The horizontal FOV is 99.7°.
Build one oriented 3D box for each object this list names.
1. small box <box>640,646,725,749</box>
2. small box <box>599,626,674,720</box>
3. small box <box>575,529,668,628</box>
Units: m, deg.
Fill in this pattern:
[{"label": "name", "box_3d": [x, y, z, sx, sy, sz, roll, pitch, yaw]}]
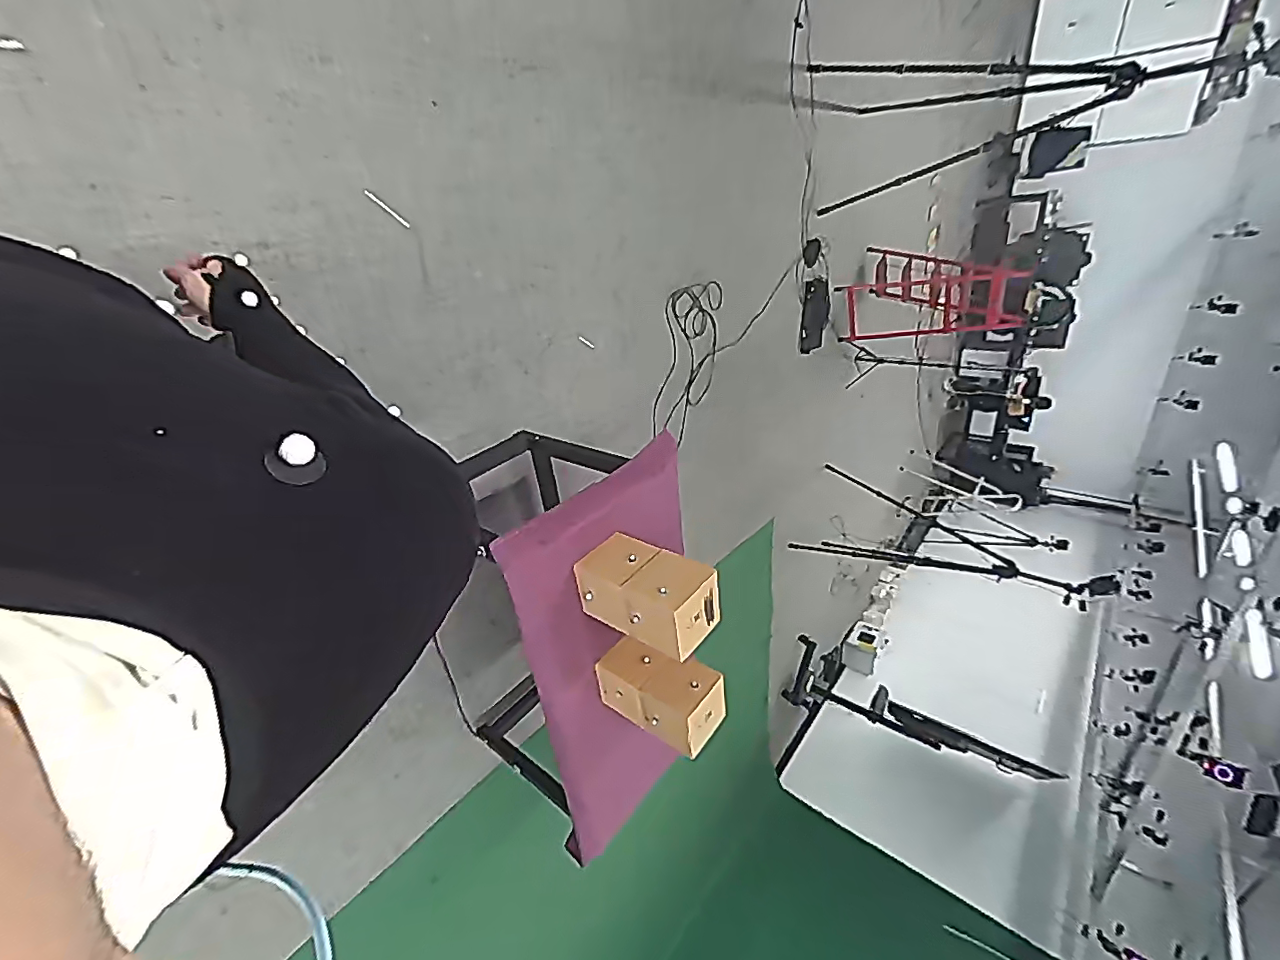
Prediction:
[{"label": "small box", "box_3d": [0.123, 0.605, 1.528, 0.179, 0.176, 0.168, -35, 127, -41]}, {"label": "small box", "box_3d": [-0.008, 0.571, 1.622, 0.179, 0.176, 0.168, -36, 129, -40]}, {"label": "small box", "box_3d": [-0.047, 0.256, 1.452, 0.179, 0.176, 0.168, -35, 128, -39]}]
